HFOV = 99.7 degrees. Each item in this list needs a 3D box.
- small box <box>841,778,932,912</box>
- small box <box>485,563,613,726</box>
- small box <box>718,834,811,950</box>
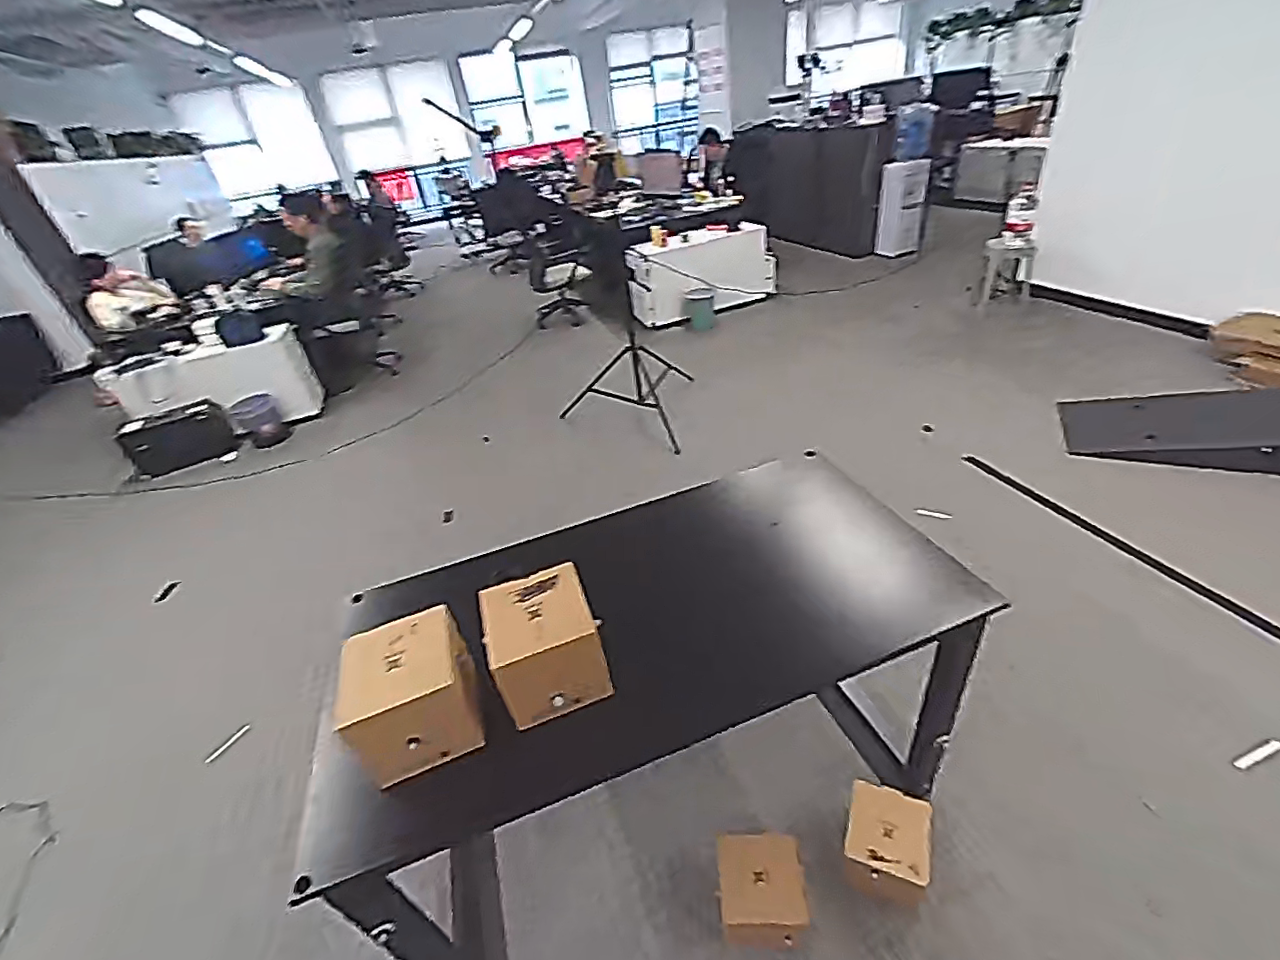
[{"bbox_3d":[0.562,0.834,1.240,0.168,0.176,0.179,8,39,25],"label":"small box"},{"bbox_3d":[-0.157,0.279,0.928,0.168,0.176,0.179,-18,36,-11],"label":"small box"},{"bbox_3d":[0.272,0.914,1.202,0.179,0.176,0.168,-6,34,7],"label":"small box"}]
